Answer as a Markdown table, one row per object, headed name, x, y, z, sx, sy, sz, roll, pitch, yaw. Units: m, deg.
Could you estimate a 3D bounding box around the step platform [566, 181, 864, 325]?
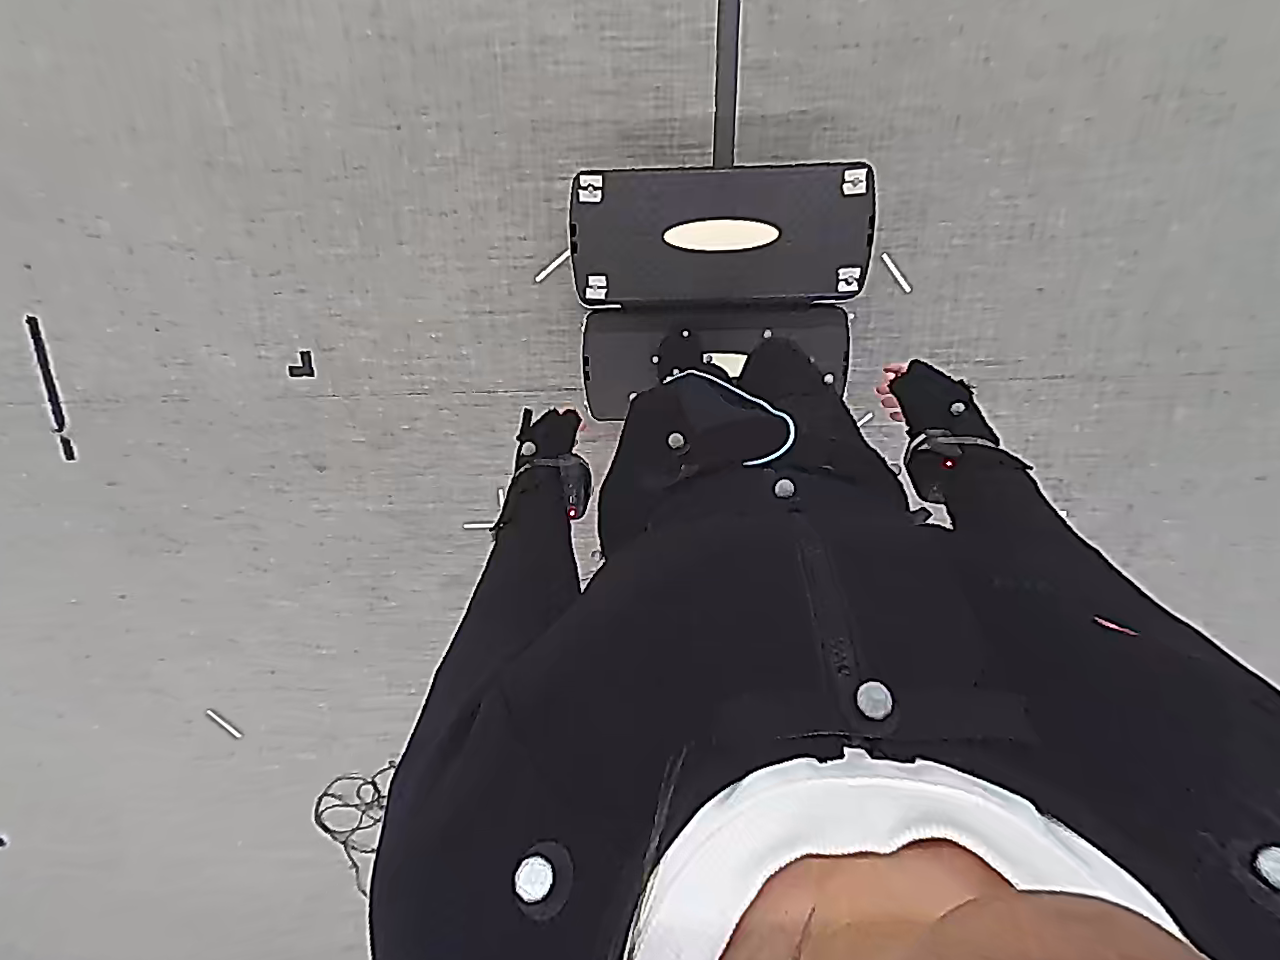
| name | x | y | z | sx | sy | sz | roll | pitch | yaw |
| --- | --- | --- | --- | --- | --- | --- | --- | --- | --- |
| step platform | 0.166 | -0.529 | 1.285 | 0.684 | 0.204 | 0.286 | -2 | 106 | 1 |
